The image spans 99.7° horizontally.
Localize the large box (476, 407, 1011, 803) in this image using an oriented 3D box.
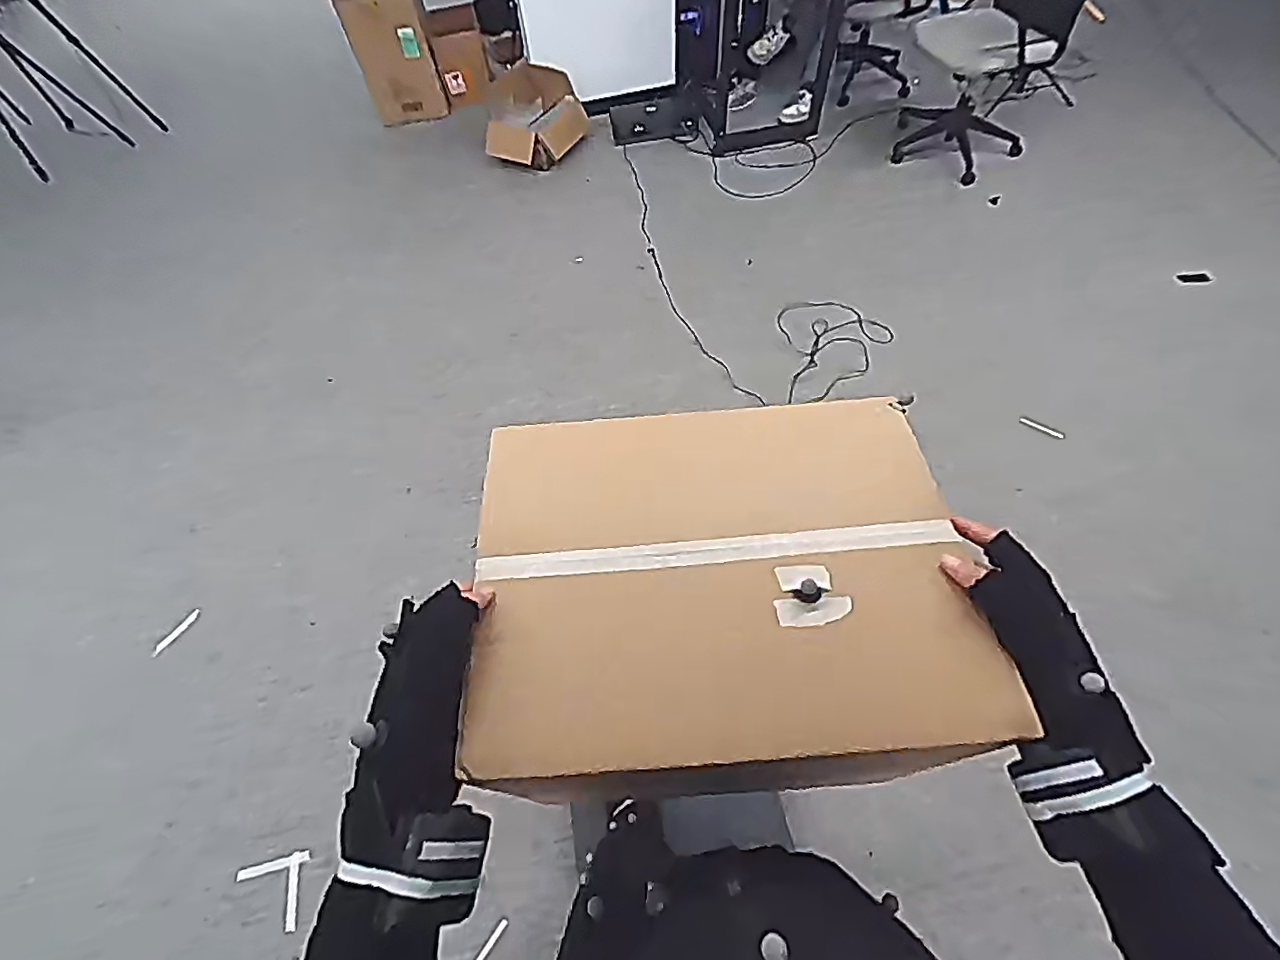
[{"bbox_3d":[0.070,0.151,0.597,0.408,0.320,0.320,-5,56,0],"label":"large box"}]
